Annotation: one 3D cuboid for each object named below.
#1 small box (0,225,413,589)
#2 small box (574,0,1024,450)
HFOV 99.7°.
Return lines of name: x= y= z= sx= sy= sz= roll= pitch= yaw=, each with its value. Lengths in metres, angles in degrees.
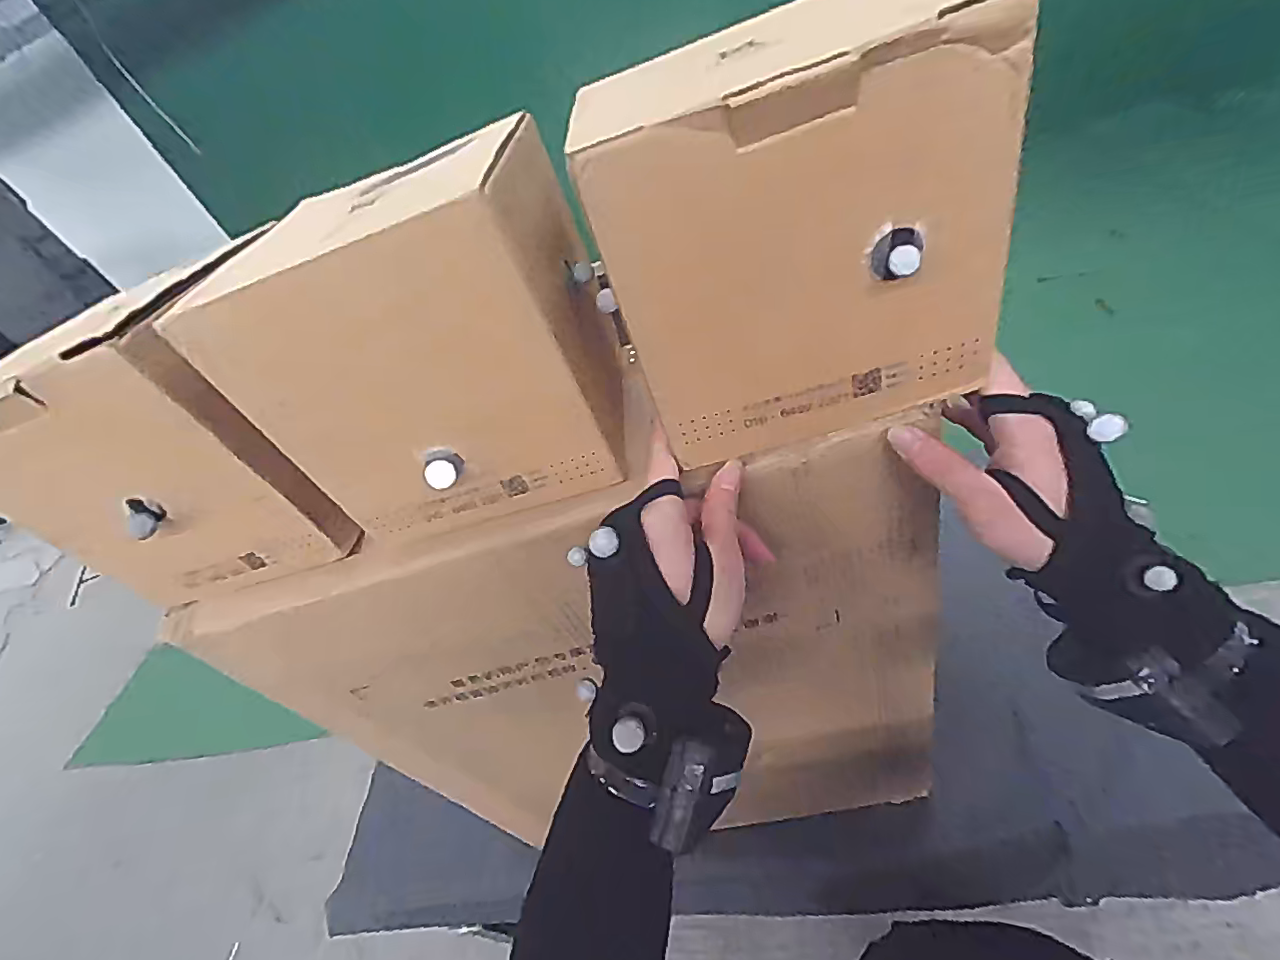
small box: x=-0.293 y=-0.042 z=0.382 sx=0.168 sy=0.176 sz=0.179 roll=-16 pitch=42 yaw=12
small box: x=0.071 y=-0.134 z=0.305 sx=0.168 sy=0.176 sz=0.179 roll=-14 pitch=41 yaw=8
